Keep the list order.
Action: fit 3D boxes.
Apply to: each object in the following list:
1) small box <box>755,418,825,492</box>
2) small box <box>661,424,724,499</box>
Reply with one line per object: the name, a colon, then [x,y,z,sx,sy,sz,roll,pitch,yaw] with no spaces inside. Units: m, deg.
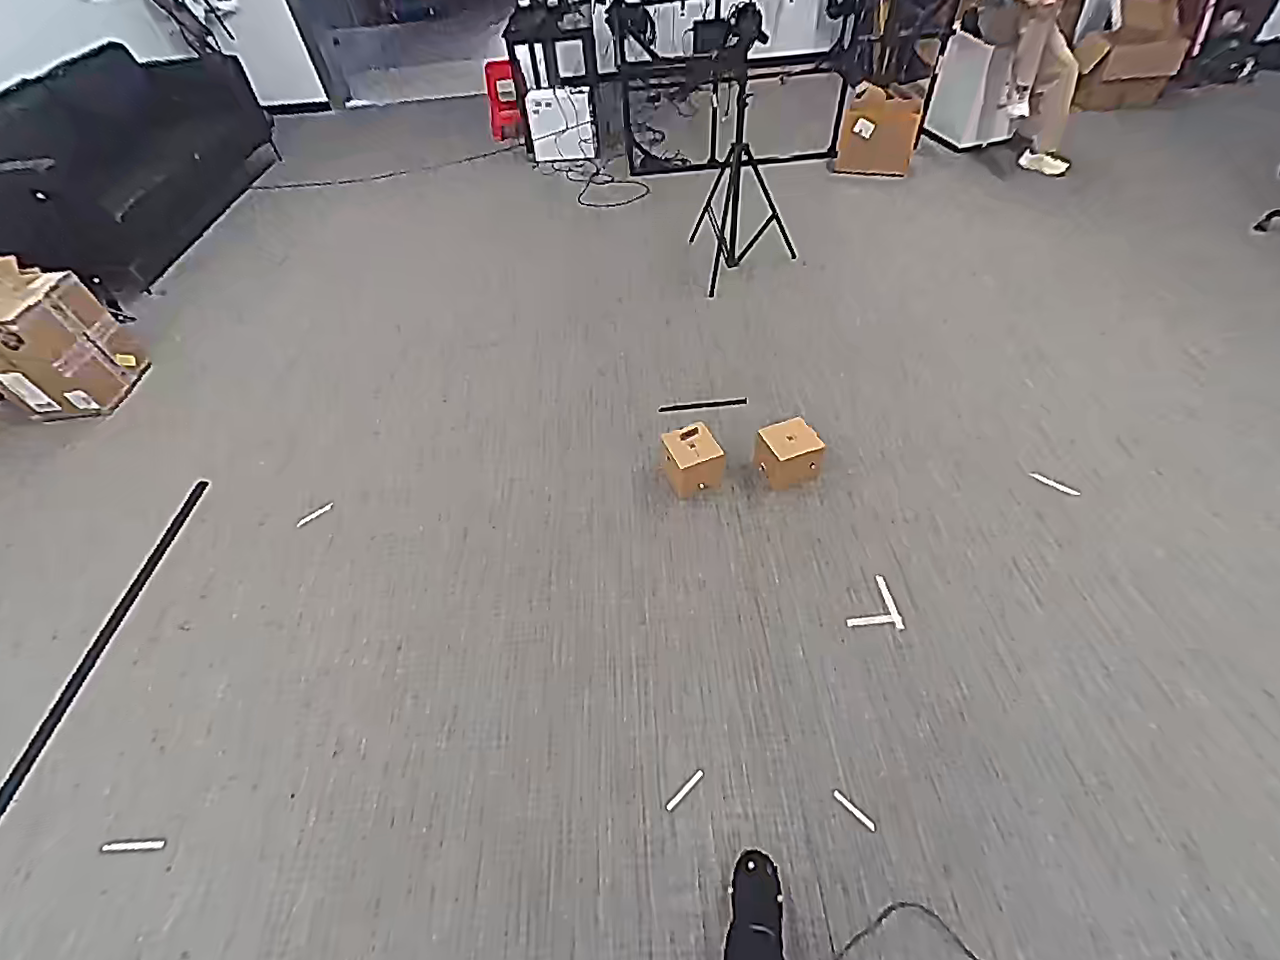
small box: [0.521,-0.087,1.908,0.179,0.176,0.168,-19,50,-10]
small box: [0.182,-0.064,1.918,0.168,0.176,0.179,-20,51,-11]
